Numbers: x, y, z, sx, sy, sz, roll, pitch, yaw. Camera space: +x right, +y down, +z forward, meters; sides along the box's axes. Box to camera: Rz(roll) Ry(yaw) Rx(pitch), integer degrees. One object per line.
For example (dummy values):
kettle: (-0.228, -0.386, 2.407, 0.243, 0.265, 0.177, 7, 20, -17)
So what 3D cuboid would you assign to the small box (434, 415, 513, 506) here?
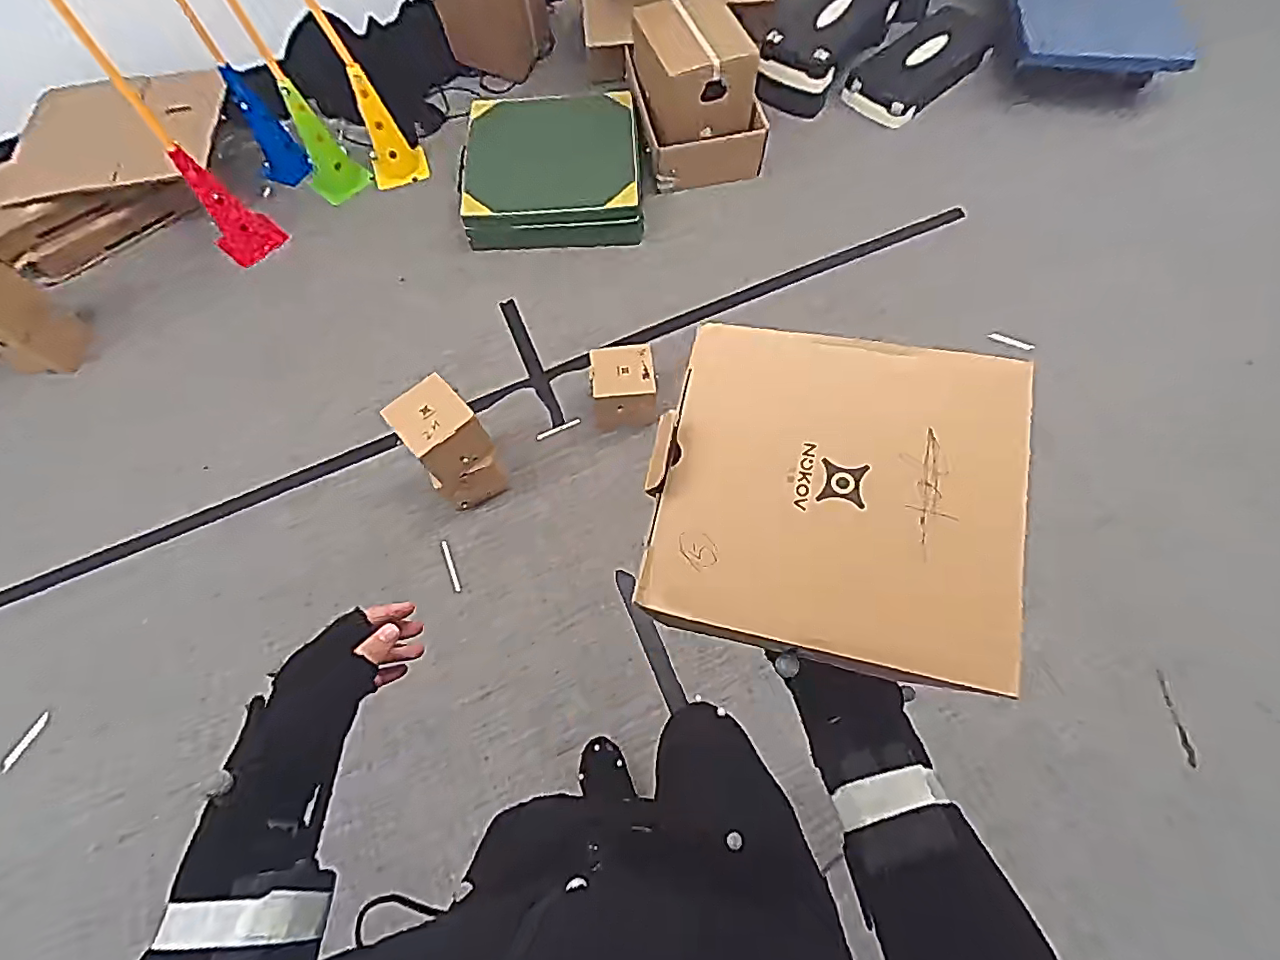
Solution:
small box: (-0.472, -0.044, 1.499, 0.168, 0.176, 0.179, -25, 67, -8)

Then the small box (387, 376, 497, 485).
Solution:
small box: (-0.488, -0.117, 1.352, 0.168, 0.176, 0.179, -37, 72, -11)

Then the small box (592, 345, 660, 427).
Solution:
small box: (-0.038, -0.268, 1.577, 0.179, 0.176, 0.168, -8, 66, -2)

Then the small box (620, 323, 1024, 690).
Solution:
small box: (0.105, 0.025, 0.347, 0.179, 0.176, 0.168, 11, 75, 13)
